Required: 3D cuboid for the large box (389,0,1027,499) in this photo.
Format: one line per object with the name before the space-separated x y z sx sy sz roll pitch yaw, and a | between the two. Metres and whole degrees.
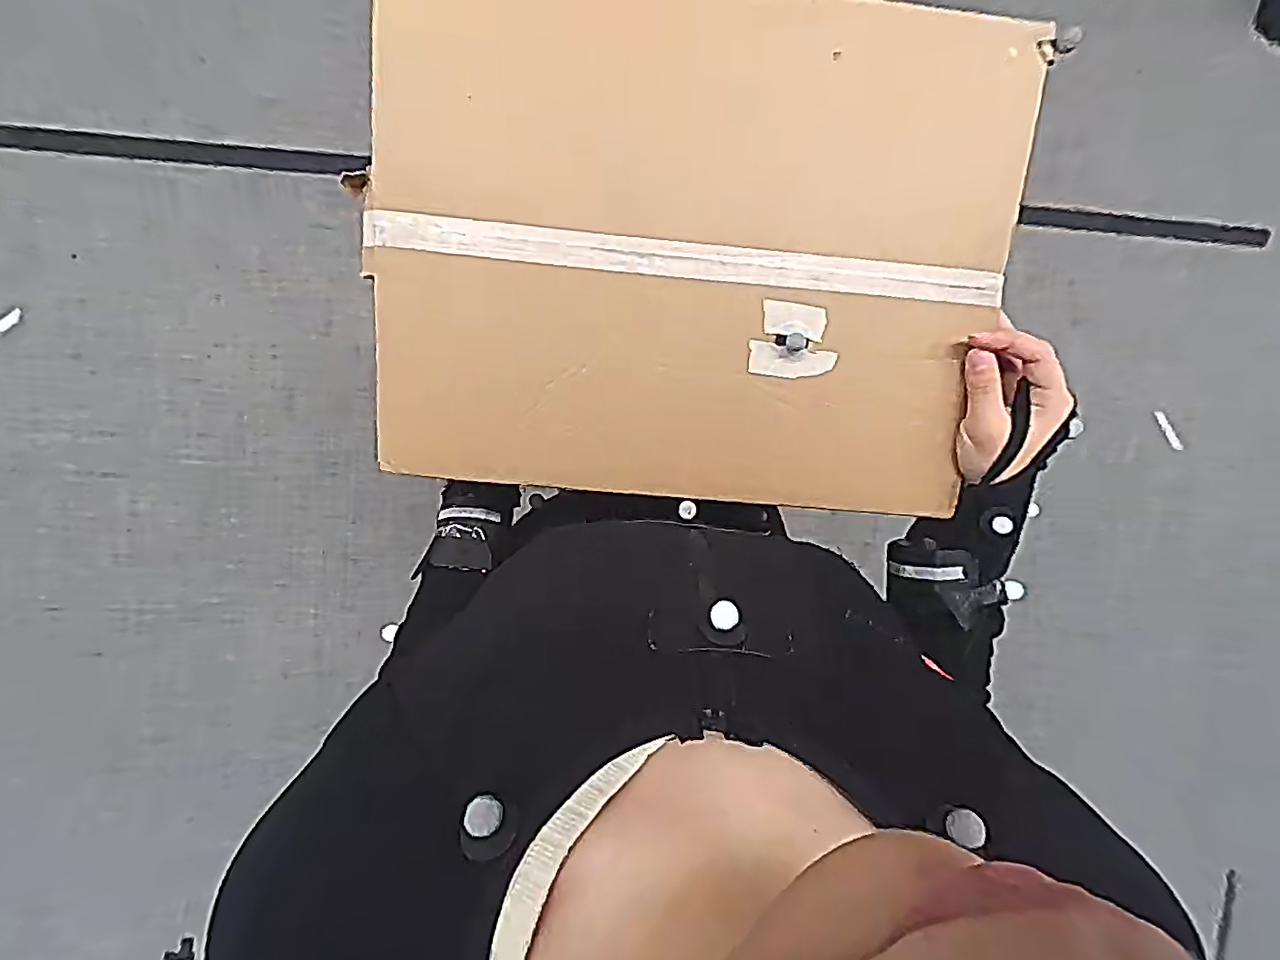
large box | 0.030 -0.173 0.502 0.408 0.320 0.320 4 102 -4
